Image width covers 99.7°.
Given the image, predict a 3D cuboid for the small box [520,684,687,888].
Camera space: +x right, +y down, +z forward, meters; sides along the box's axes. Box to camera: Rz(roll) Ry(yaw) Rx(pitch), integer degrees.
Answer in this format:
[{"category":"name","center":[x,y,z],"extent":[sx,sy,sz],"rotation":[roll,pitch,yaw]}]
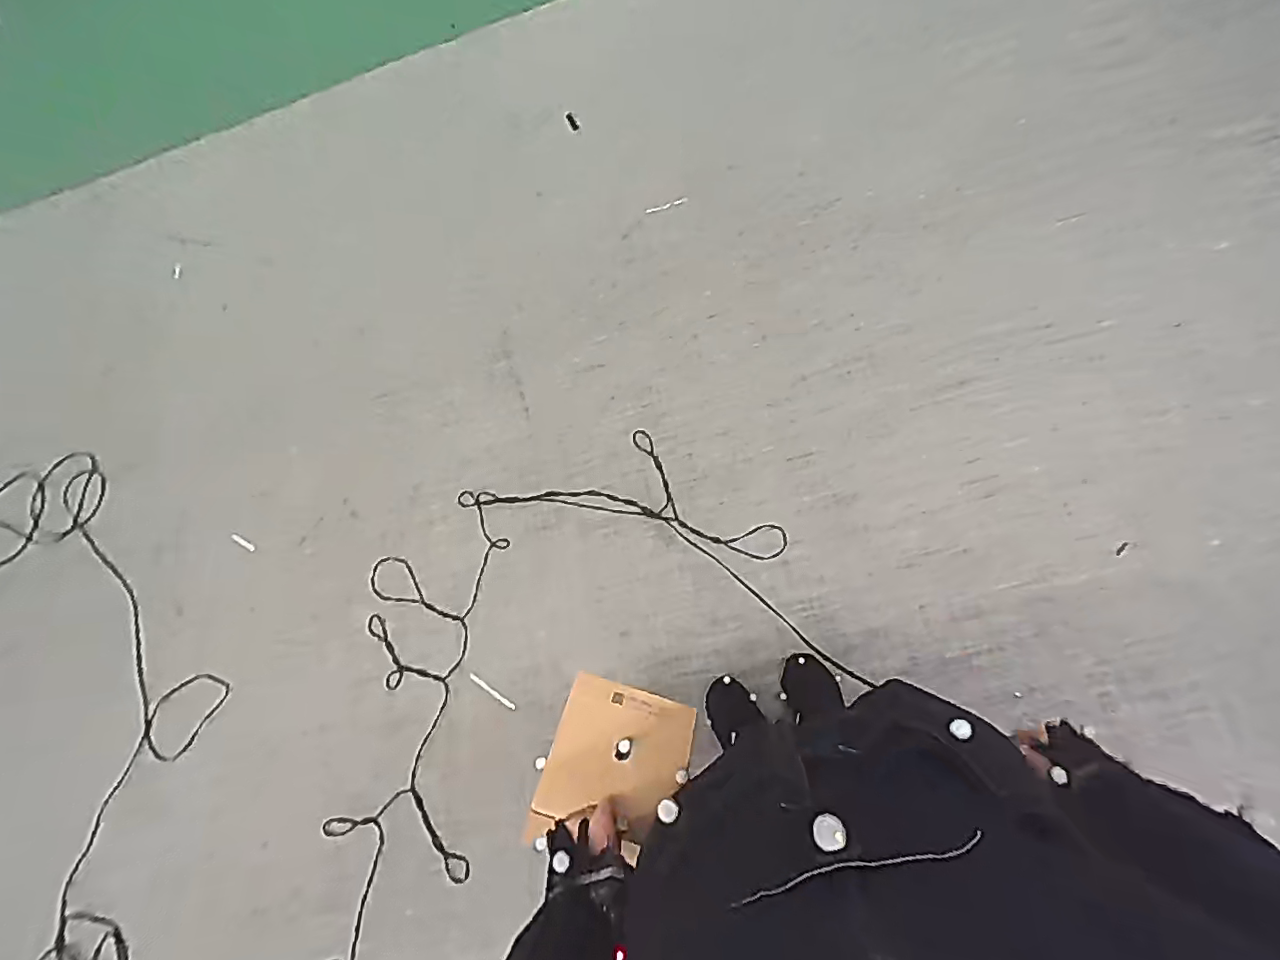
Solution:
[{"category":"small box","center":[-0.043,0.391,0.699],"extent":[0.168,0.179,0.176],"rotation":[18,44,1]}]
